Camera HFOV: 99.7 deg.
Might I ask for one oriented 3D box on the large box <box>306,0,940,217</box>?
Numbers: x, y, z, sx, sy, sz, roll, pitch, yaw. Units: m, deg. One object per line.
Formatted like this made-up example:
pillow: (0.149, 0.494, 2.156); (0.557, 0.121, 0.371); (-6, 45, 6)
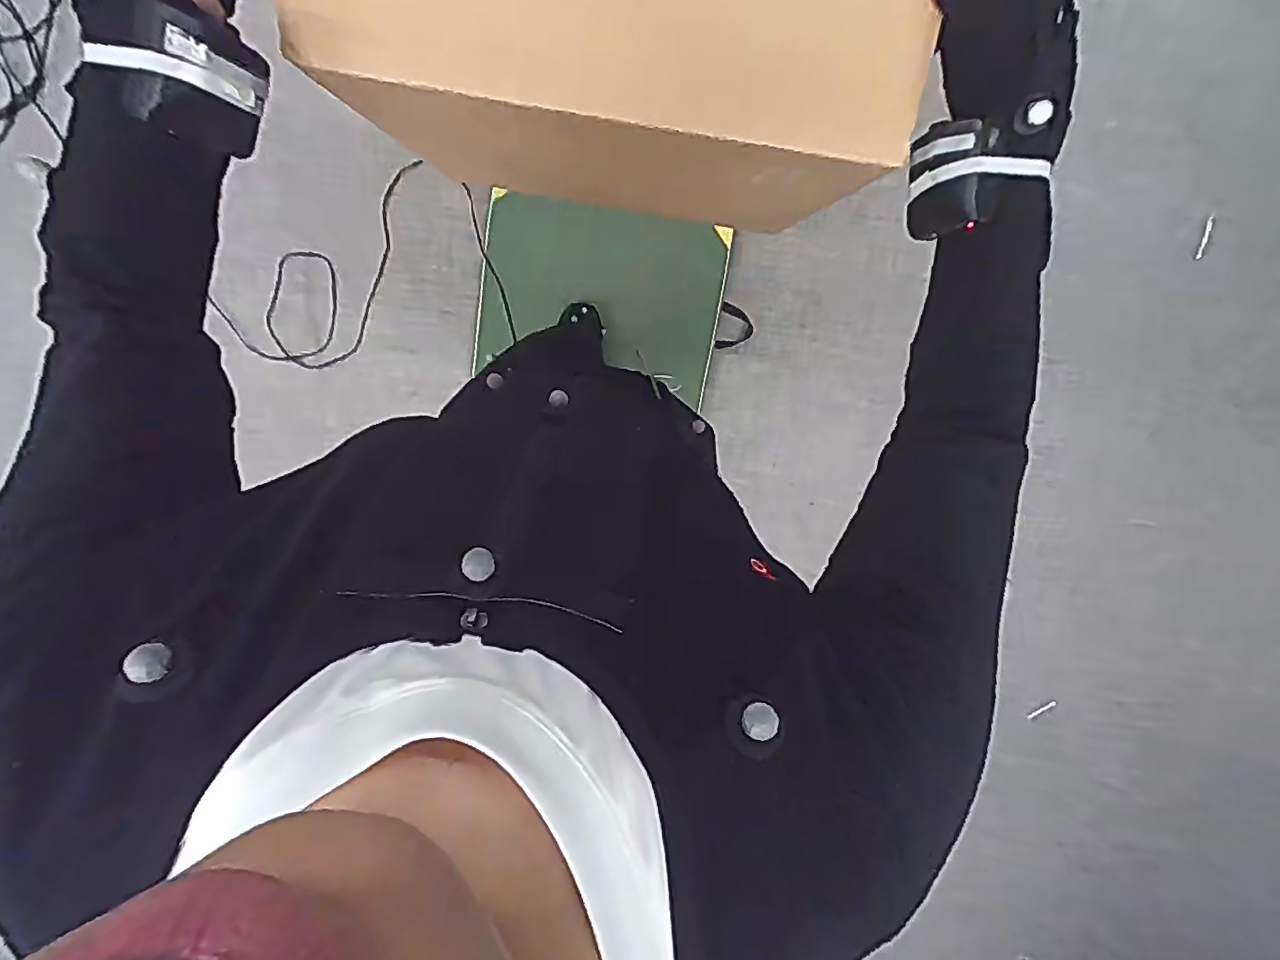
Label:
large box: (-0.002, -0.439, 0.454); (0.408, 0.320, 0.320); (7, 107, -5)
